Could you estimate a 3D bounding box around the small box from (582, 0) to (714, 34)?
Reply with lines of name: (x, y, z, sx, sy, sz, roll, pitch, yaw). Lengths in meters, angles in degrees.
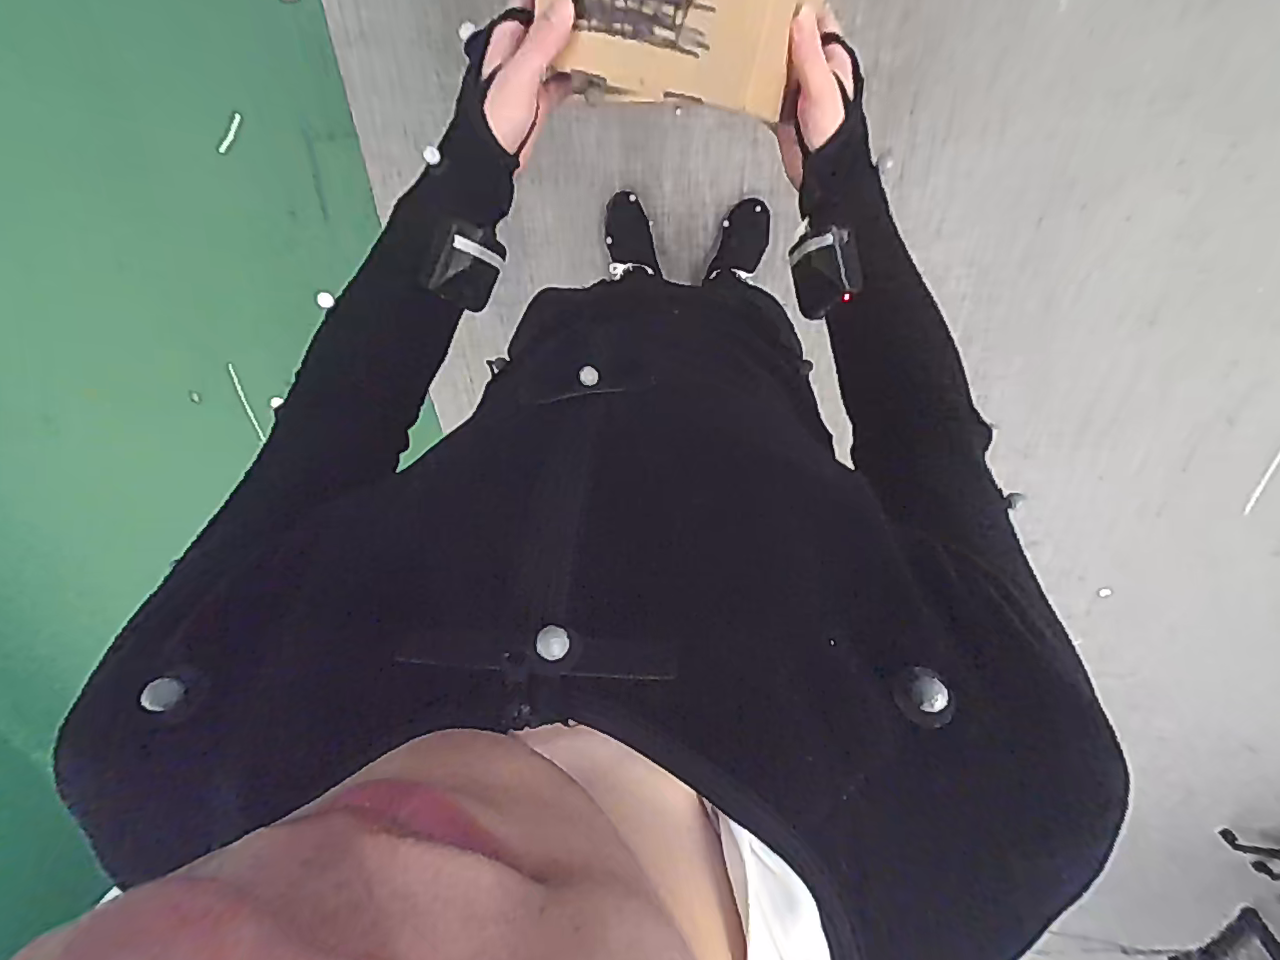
small box: (0.017, -0.647, 0.624, 0.168, 0.176, 0.179, 10, 121, 0)
